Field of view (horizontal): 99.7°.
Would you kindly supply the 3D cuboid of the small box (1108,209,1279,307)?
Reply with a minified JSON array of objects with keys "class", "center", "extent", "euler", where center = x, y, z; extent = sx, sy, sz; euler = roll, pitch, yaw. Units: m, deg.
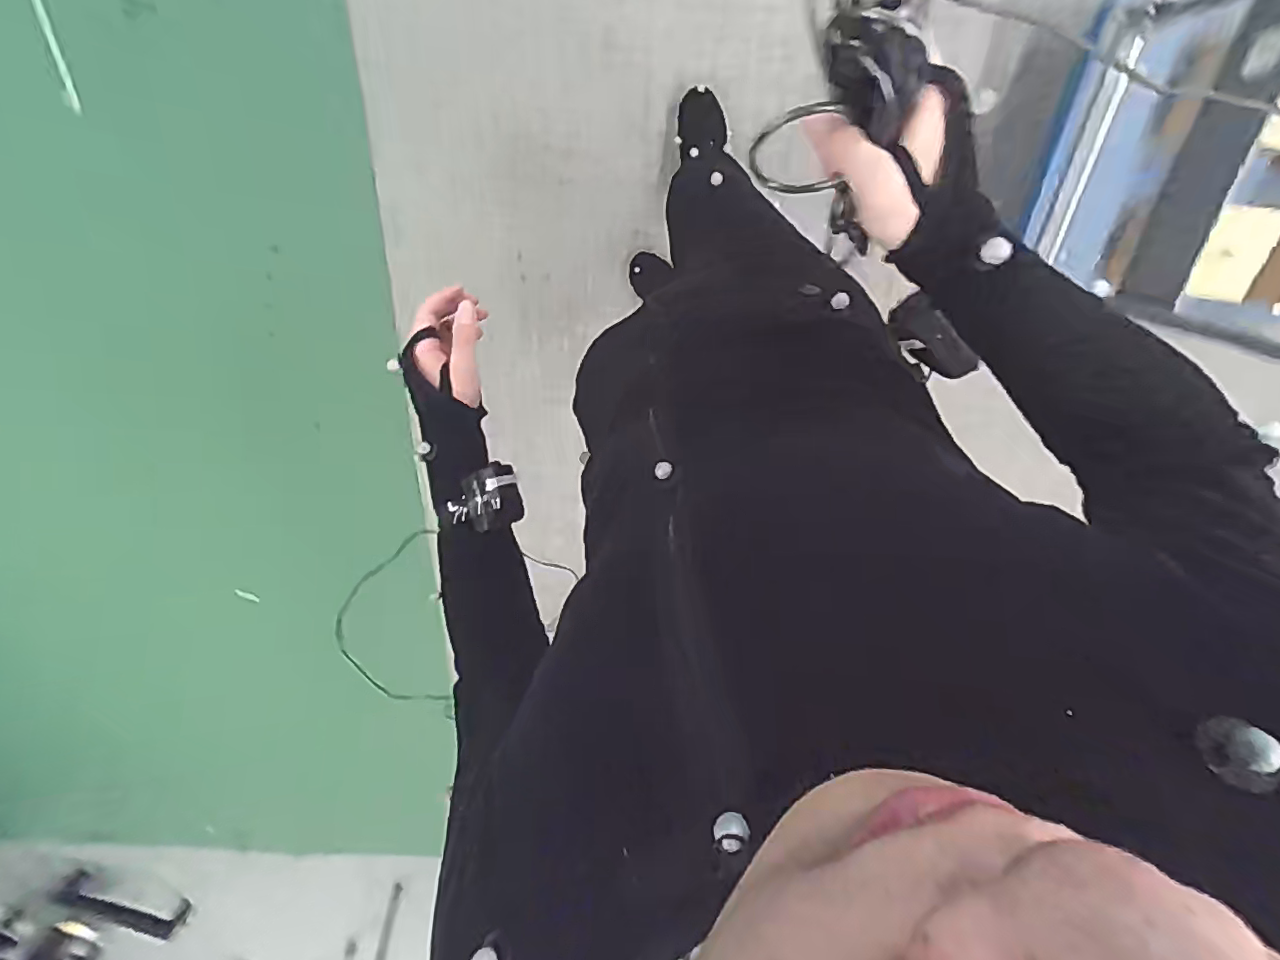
[{"class":"small box","center":[1.180,-0.479,1.158],"extent":[0.179,0.176,0.168],"euler":[6,118,-2]}]
